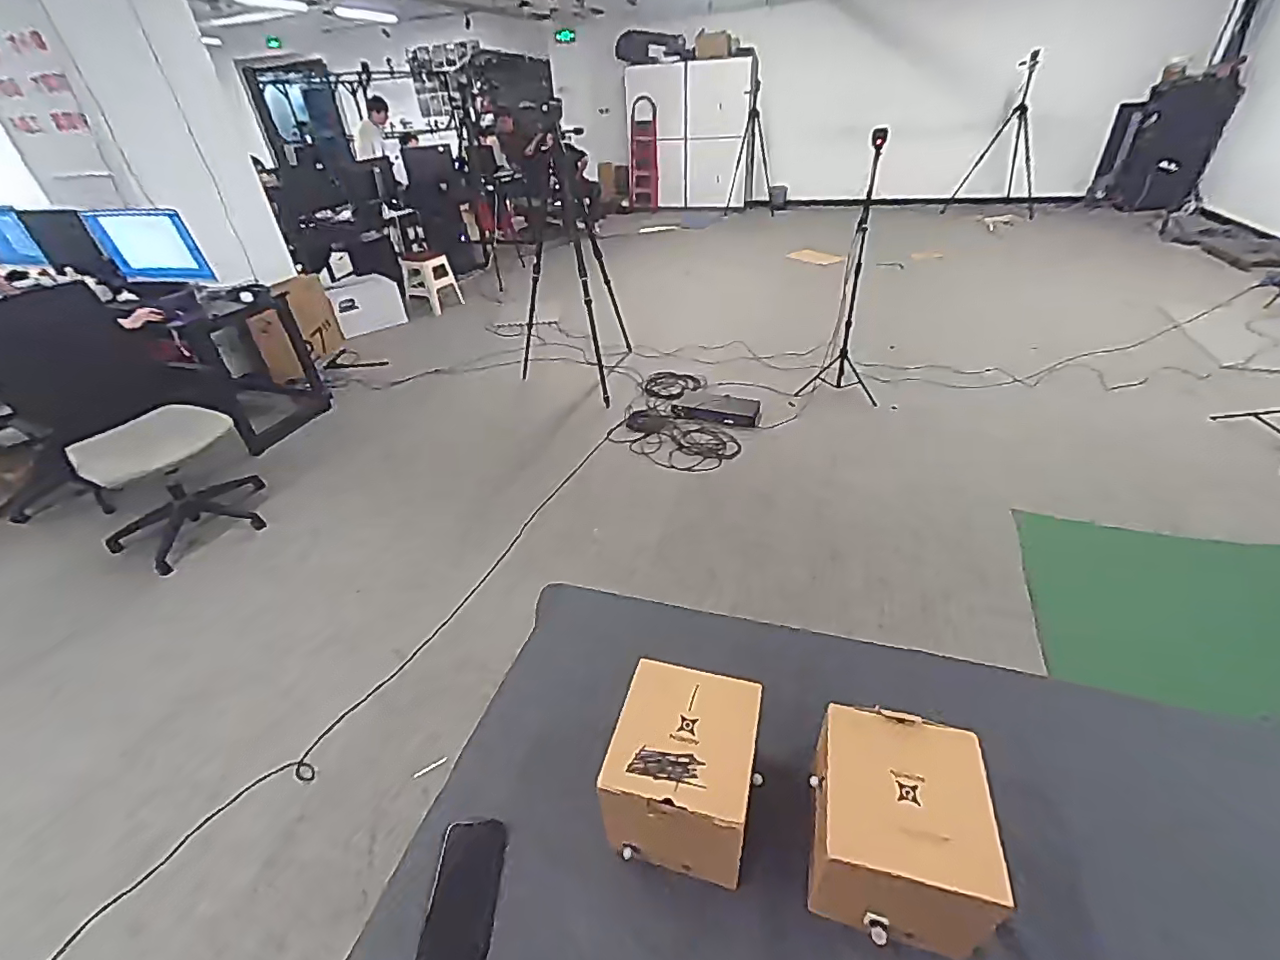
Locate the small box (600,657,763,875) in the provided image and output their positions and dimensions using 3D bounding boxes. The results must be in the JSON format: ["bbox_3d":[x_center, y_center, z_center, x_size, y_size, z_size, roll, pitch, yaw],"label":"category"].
[{"bbox_3d":[0.062,0.365,0.698,0.168,0.176,0.179,7,36,15],"label":"small box"}]

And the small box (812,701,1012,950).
[{"bbox_3d":[0.297,0.399,0.635,0.168,0.176,0.179,6,37,15],"label":"small box"}]
